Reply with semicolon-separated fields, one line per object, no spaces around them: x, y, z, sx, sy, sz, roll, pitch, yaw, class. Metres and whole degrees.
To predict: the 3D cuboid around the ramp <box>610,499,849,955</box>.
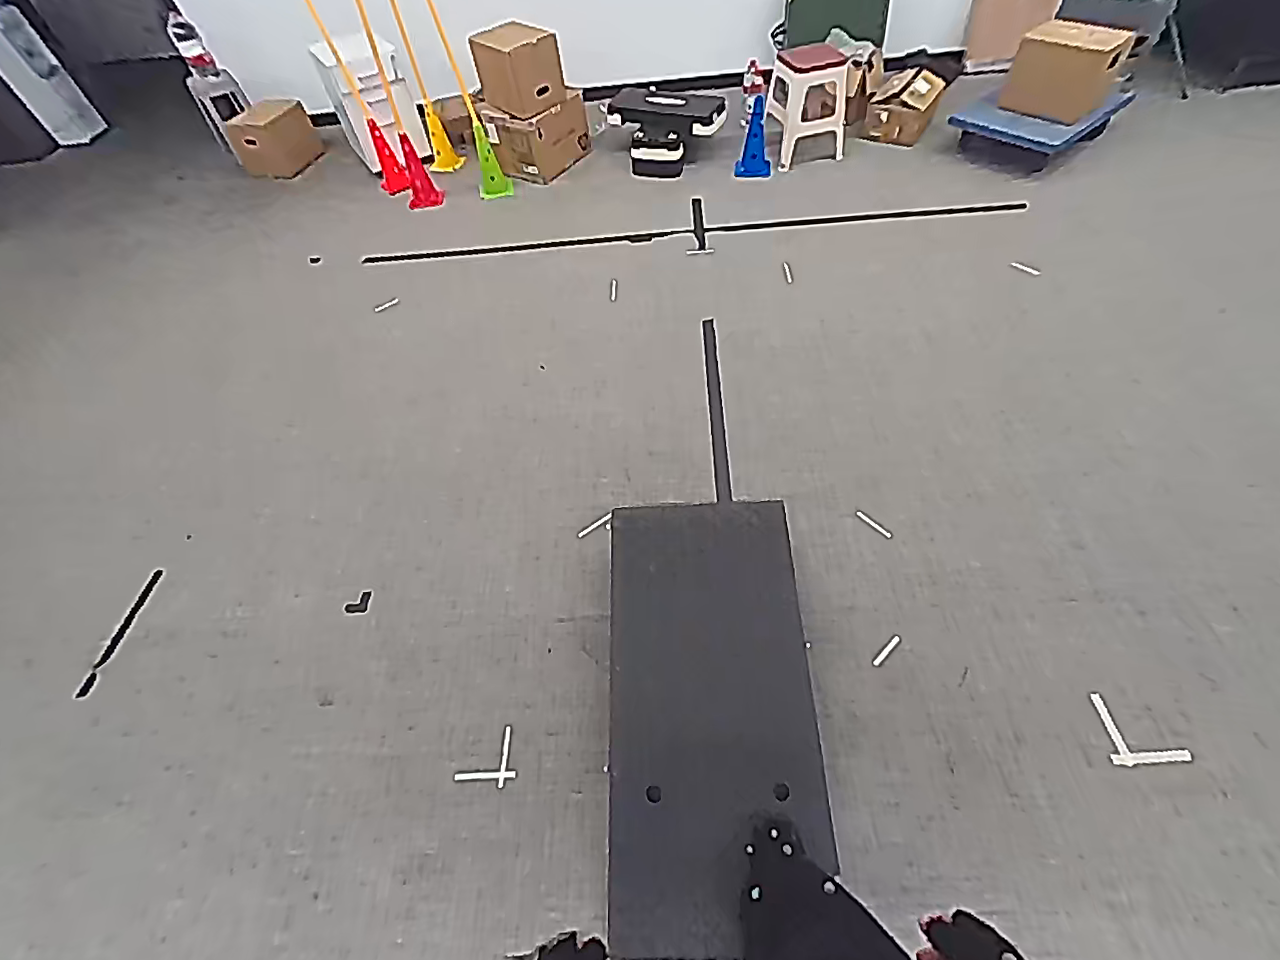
0.171;0.514;1.318;0.509;0.206;0.991;-4;53;2;ramp
